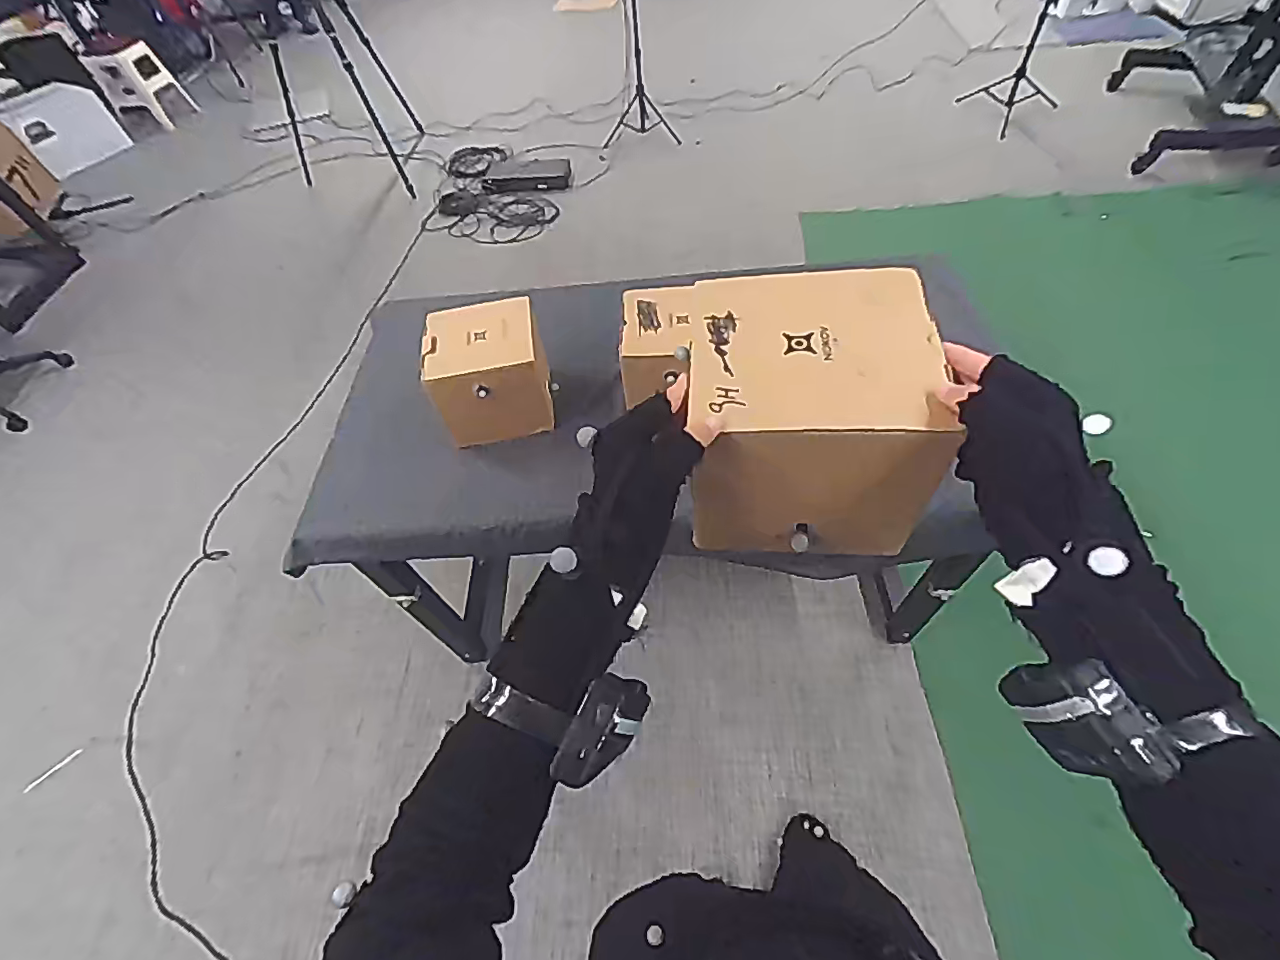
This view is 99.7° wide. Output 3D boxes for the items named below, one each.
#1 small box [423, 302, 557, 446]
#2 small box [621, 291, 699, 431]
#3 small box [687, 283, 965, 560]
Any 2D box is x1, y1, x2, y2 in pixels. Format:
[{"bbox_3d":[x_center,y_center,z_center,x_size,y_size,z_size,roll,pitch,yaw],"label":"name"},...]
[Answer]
[{"bbox_3d":[-0.249,-0.176,0.931,0.179,0.176,0.168,-10,55,-2],"label":"small box"},{"bbox_3d":[0.067,-0.195,0.910,0.179,0.176,0.168,-2,54,4],"label":"small box"},{"bbox_3d":[0.132,-0.043,0.455,0.179,0.176,0.168,1,54,8],"label":"small box"}]
